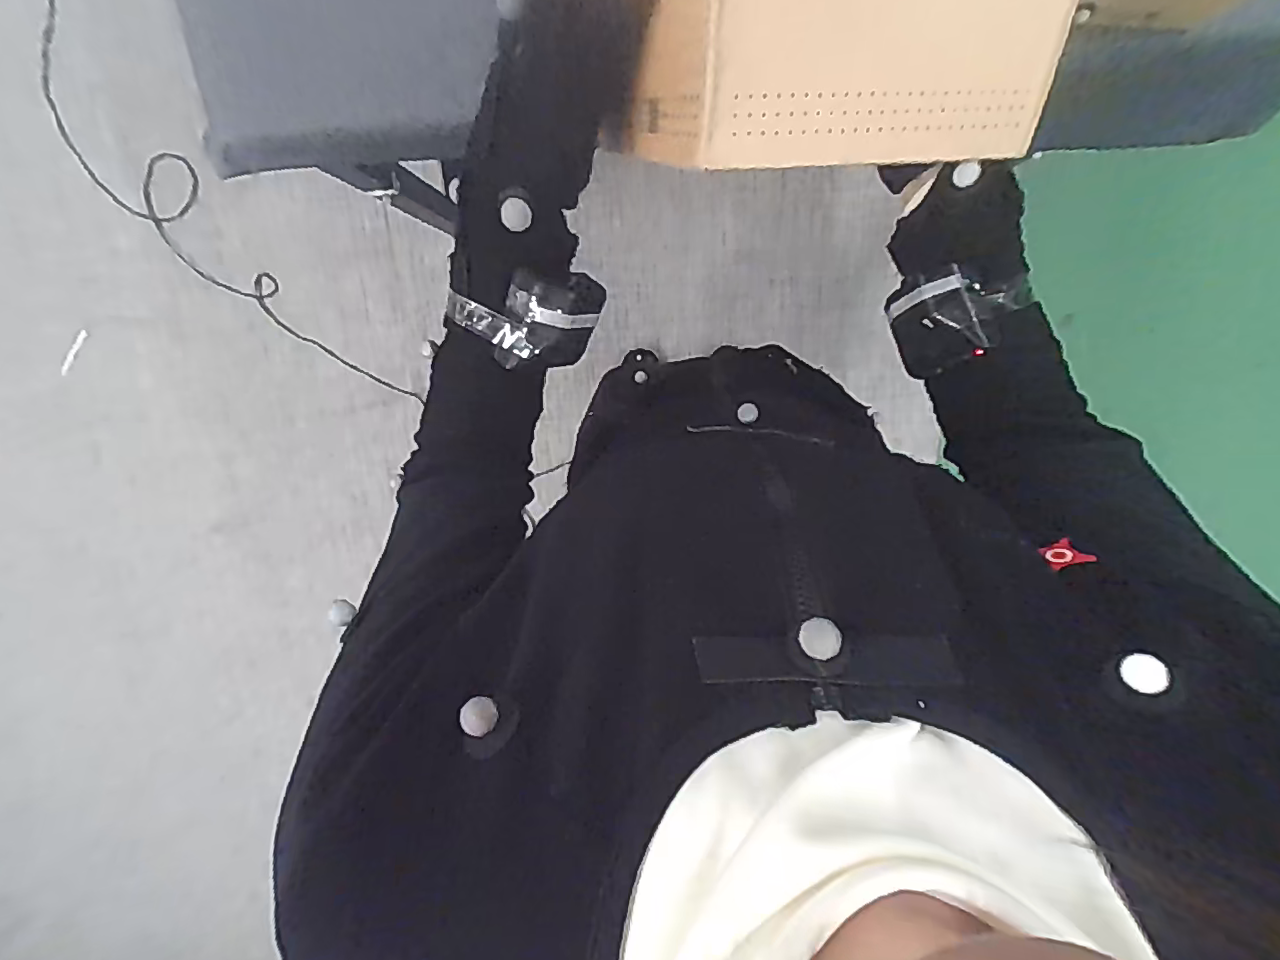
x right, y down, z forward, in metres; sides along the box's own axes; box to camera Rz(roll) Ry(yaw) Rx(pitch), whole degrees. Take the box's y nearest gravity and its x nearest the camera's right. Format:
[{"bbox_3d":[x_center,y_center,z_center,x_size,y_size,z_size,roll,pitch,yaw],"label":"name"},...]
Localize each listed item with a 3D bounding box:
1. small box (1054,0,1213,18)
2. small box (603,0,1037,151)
[{"bbox_3d":[0.487,-0.540,0.460,0.168,0.176,0.179,4,104,1],"label":"small box"},{"bbox_3d":[0.079,-0.266,0.266,0.179,0.168,0.176,-11,128,-14],"label":"small box"}]
